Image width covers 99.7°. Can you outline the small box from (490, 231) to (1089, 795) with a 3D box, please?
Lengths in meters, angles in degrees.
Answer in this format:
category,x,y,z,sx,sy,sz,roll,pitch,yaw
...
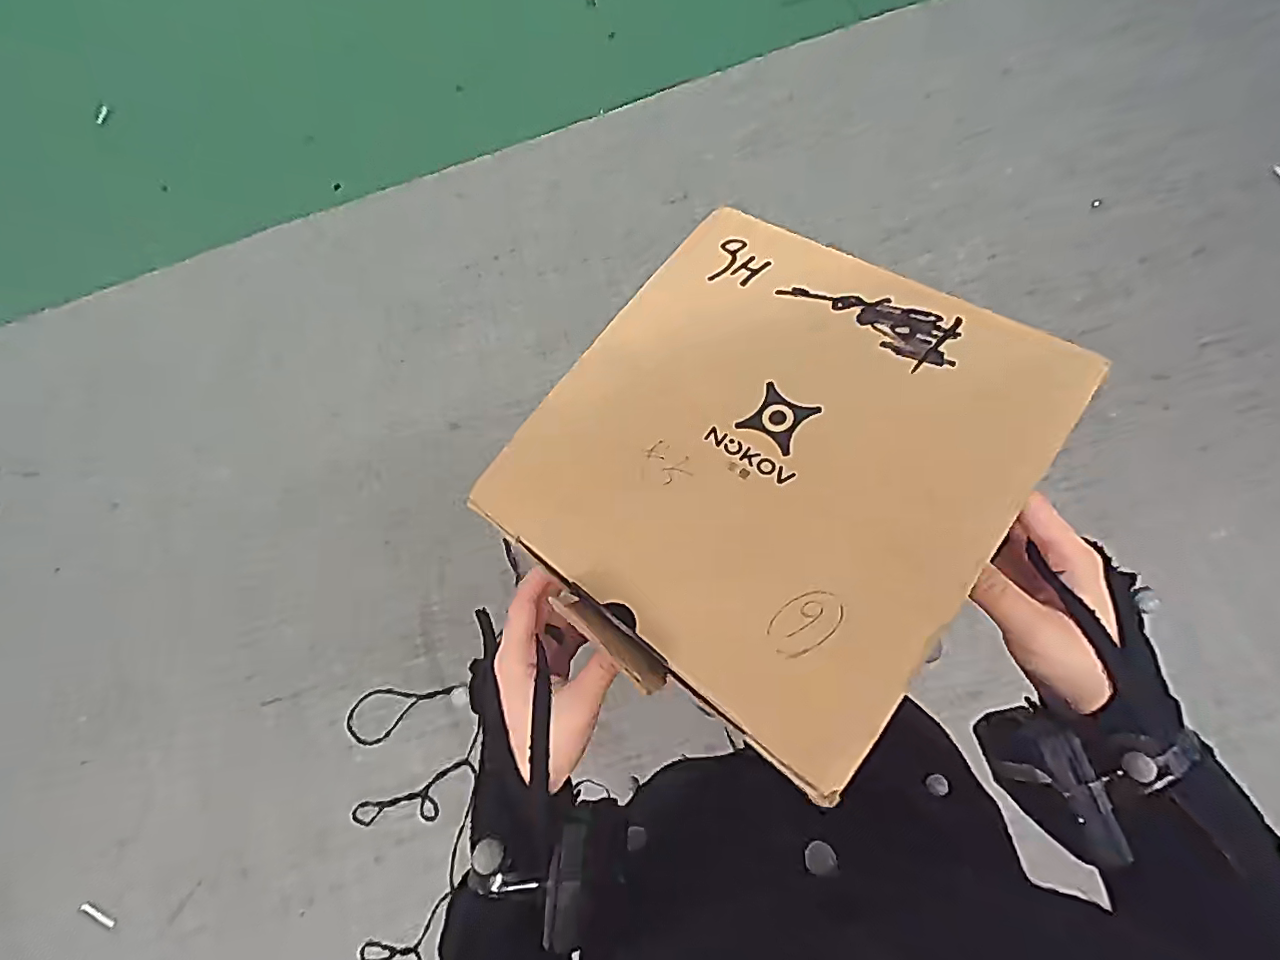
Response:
category,x,y,z,sx,sy,sz,roll,pitch,yaw
small box,0.065,0.020,0.282,0.168,0.176,0.179,35,79,22
